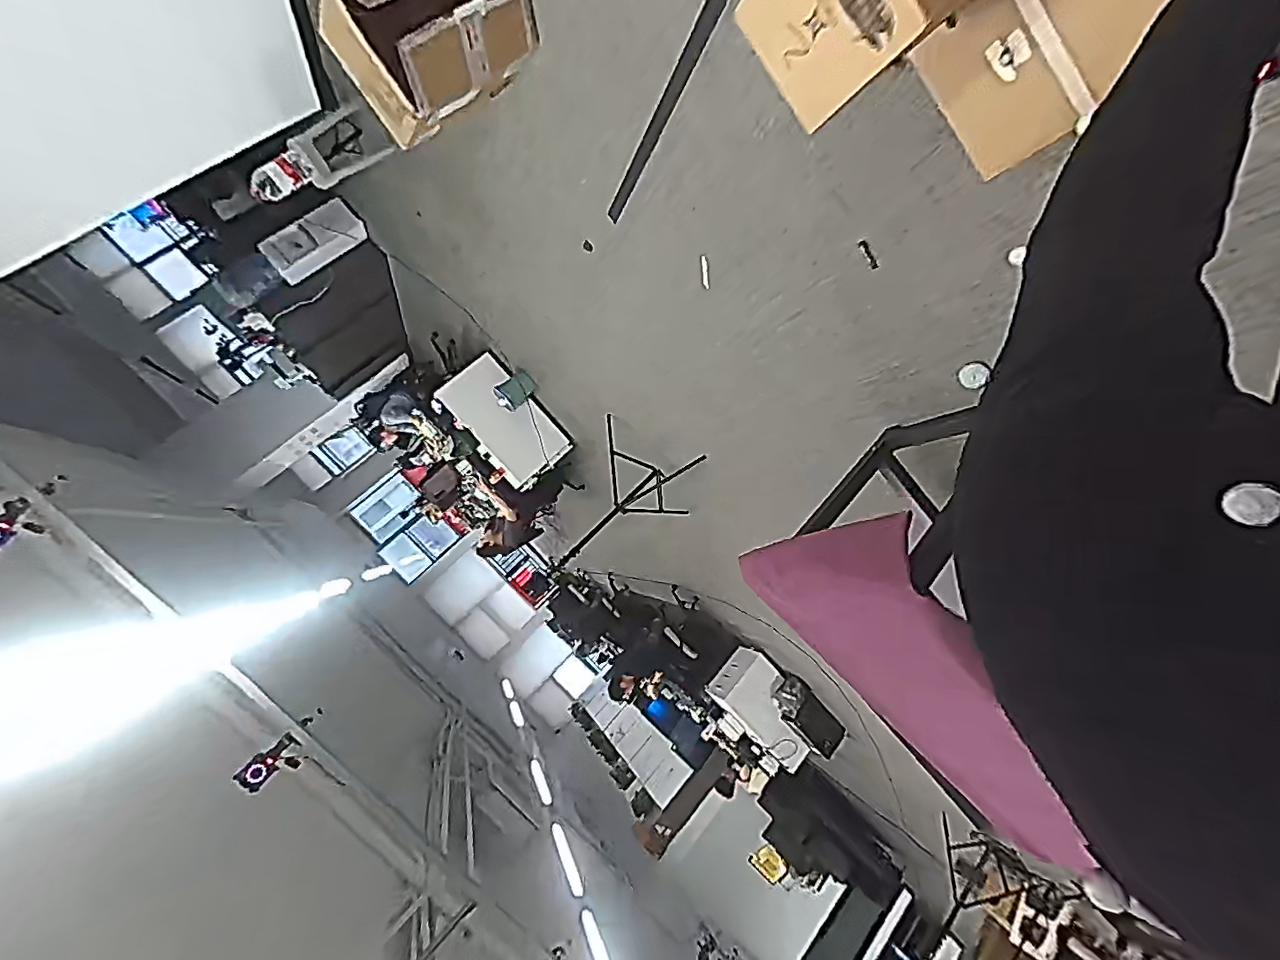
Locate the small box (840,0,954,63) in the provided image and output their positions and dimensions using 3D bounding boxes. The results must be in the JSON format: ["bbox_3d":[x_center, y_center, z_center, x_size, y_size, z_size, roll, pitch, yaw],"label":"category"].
[{"bbox_3d":[0.348,-0.662,0.636,0.168,0.176,0.179,48,163,-14],"label":"small box"}]

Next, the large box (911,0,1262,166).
[{"bbox_3d":[0.586,-0.750,0.723,0.408,0.320,0.320,47,164,-11],"label":"large box"}]
